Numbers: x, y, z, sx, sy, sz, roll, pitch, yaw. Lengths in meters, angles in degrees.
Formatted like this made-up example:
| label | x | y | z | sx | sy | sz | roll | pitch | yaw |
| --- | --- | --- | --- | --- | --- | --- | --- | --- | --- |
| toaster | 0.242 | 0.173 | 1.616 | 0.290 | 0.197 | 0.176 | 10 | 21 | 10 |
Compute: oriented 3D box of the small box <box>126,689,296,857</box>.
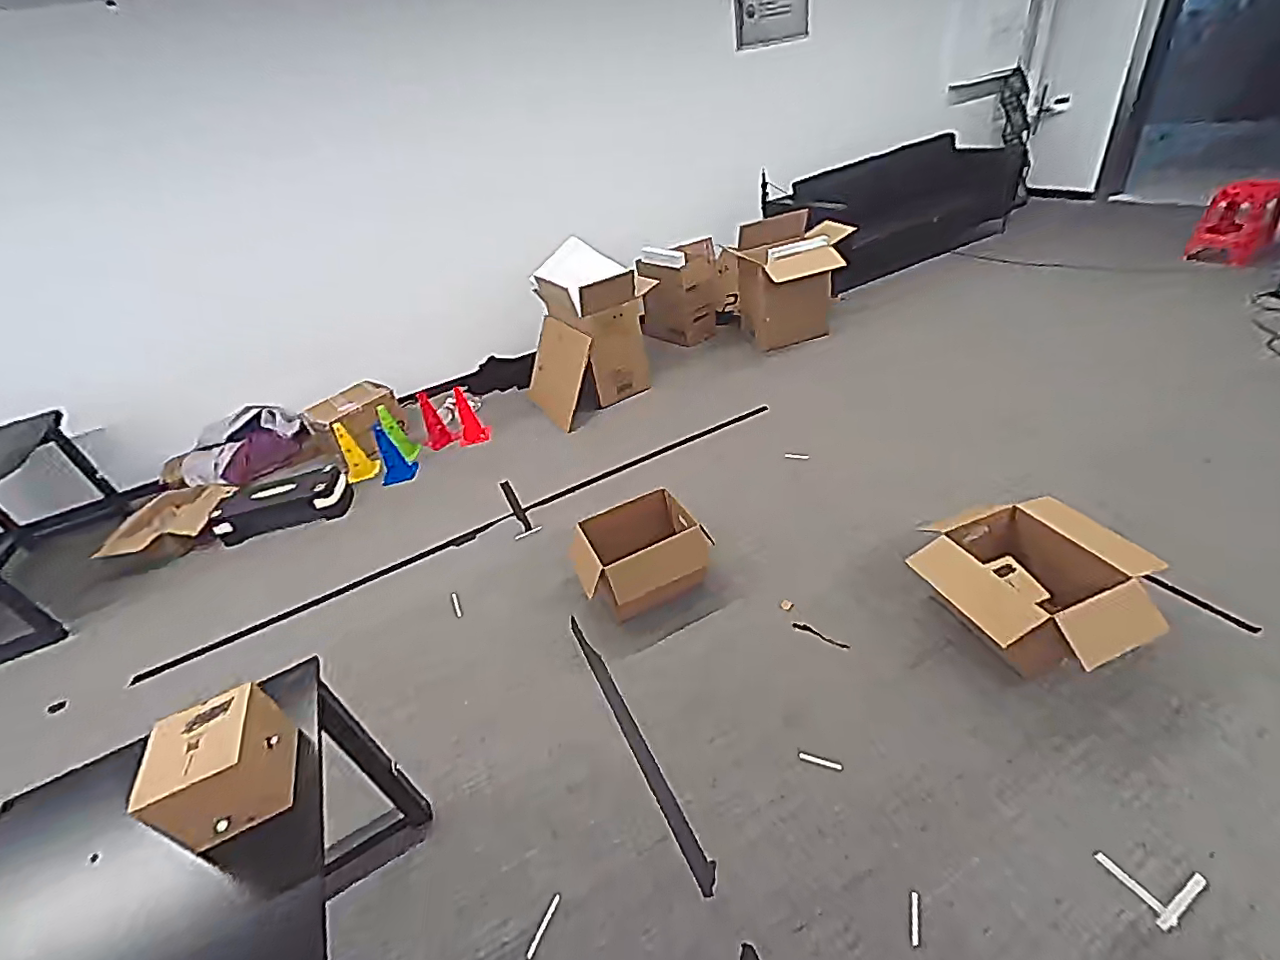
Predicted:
| label | x | y | z | sx | sy | sz | roll | pitch | yaw |
| --- | --- | --- | --- | --- | --- | --- | --- | --- | --- |
| small box | -0.746 | 0.522 | 0.968 | 0.168 | 0.176 | 0.179 | -24 | 38 | -15 |
